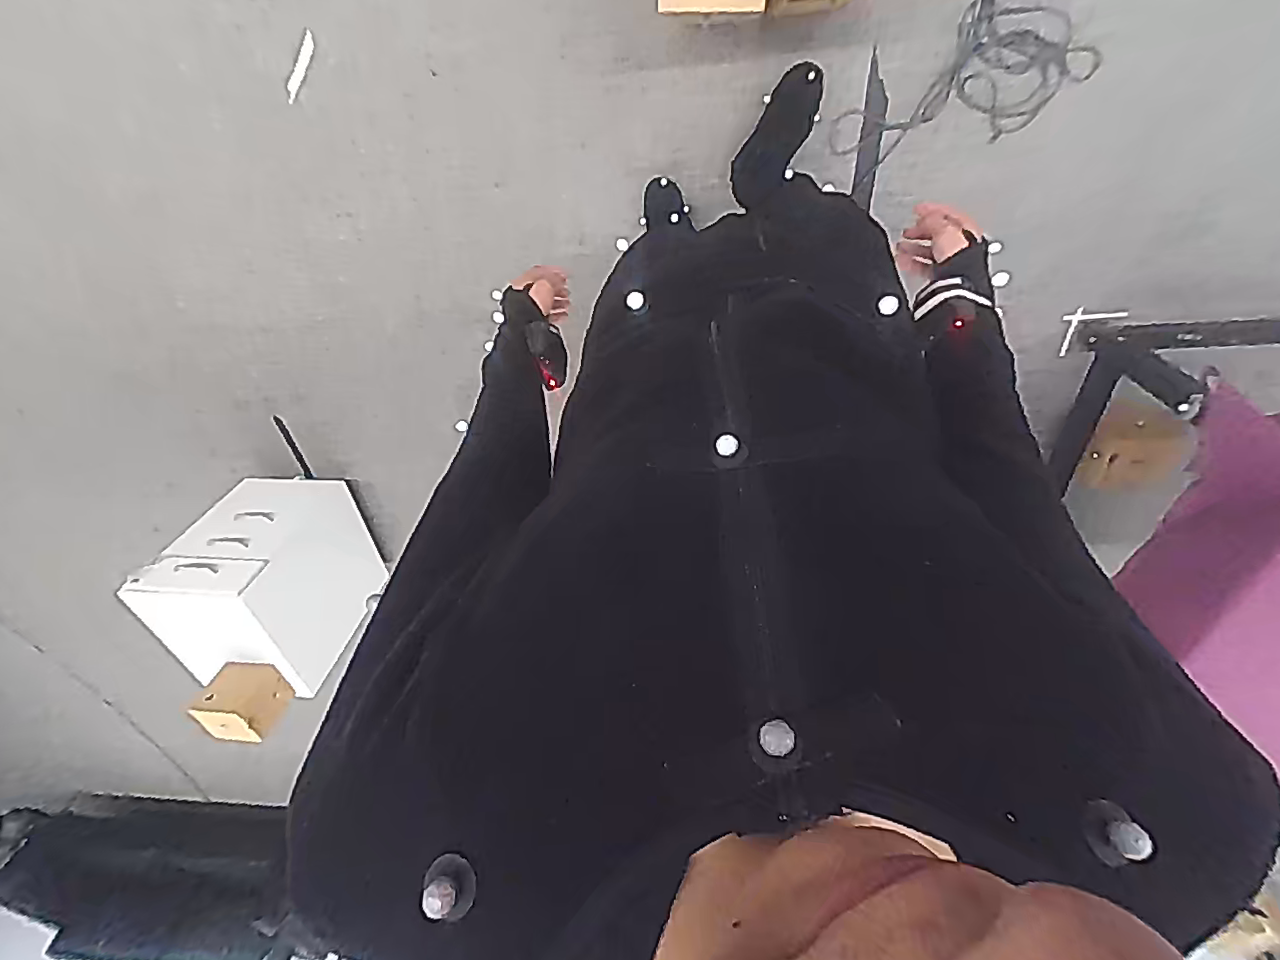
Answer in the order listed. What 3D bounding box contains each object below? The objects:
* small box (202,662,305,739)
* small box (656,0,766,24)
[{"bbox_3d":[-1.236,0.707,1.742,0.179,0.176,0.168,0,127,8],"label":"small box"},{"bbox_3d":[0.122,-0.866,0.890,0.179,0.176,0.168,4,127,6],"label":"small box"}]
